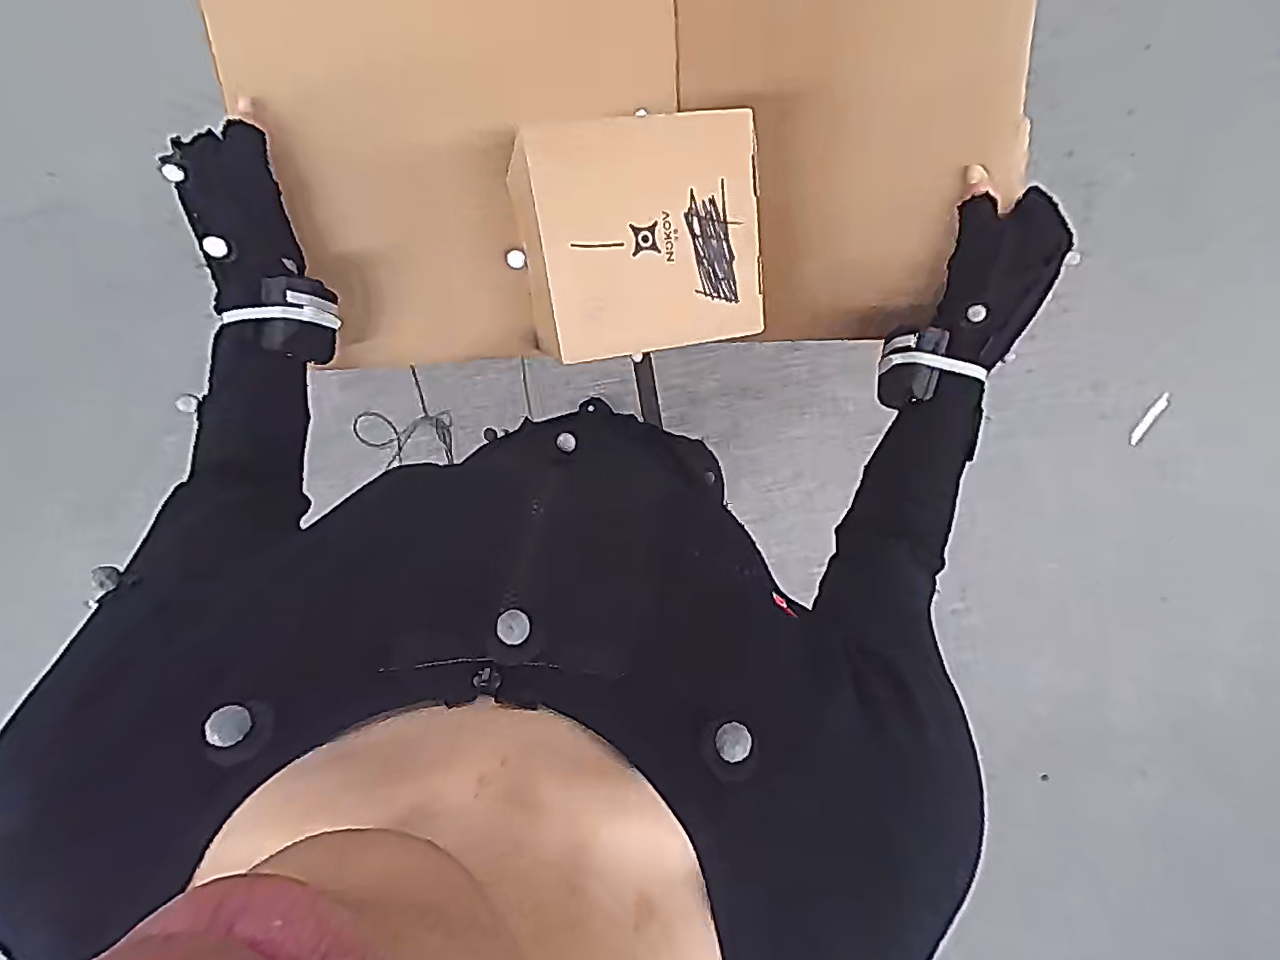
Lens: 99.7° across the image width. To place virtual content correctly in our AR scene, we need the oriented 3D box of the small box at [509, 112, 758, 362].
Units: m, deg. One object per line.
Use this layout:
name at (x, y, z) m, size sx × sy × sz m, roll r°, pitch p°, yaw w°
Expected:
small box at (-0.013, -0.209, 0.488) m, size 0.179 × 0.176 × 0.168 m, roll -13°, pitch 110°, yaw -12°
